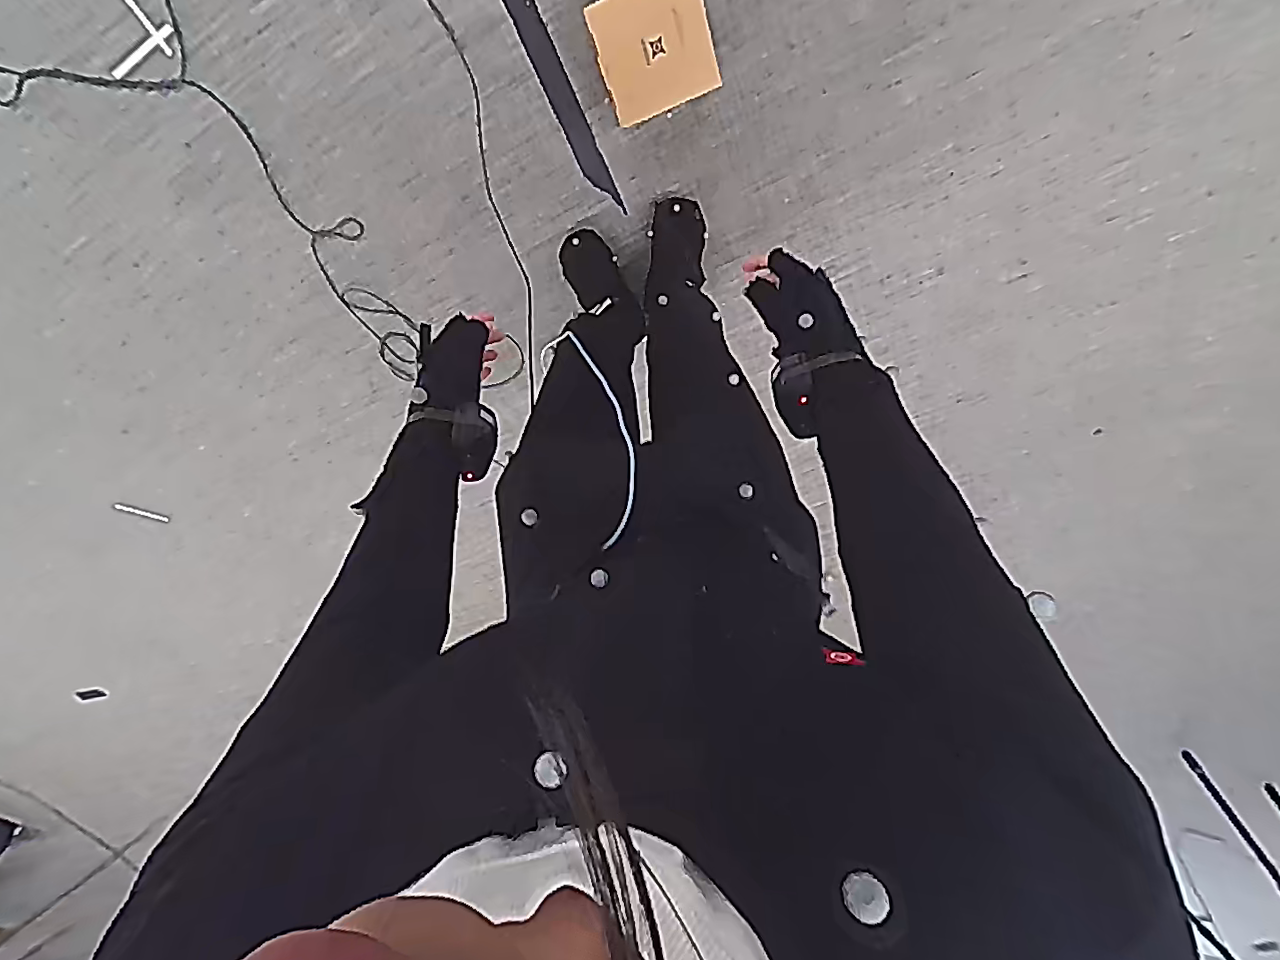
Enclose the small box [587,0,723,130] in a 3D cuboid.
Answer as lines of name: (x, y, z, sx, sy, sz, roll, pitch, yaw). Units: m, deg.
small box: (0.027, -0.712, 0.903, 0.179, 0.176, 0.168, -17, 124, 11)
